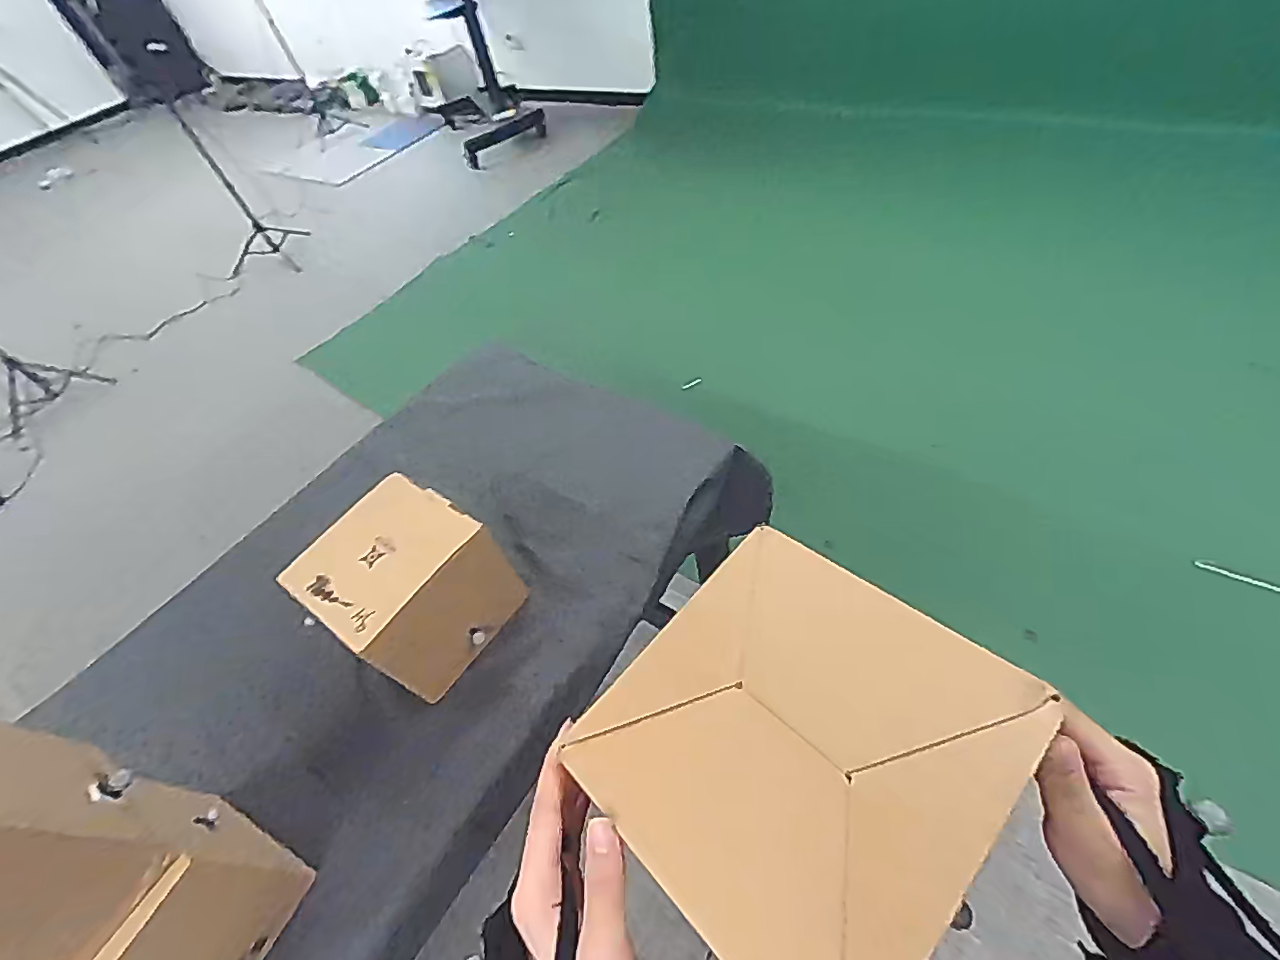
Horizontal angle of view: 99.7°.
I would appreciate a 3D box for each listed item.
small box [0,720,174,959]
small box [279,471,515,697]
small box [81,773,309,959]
[{"bbox_3d":[-0.491,0.282,0.367,0.168,0.176,0.179,20,57,23],"label":"small box"},{"bbox_3d":[-0.275,0.127,0.658,0.168,0.176,0.179,25,60,28],"label":"small box"},{"bbox_3d":[-0.455,0.390,0.483,0.179,0.176,0.168,15,57,22],"label":"small box"}]
